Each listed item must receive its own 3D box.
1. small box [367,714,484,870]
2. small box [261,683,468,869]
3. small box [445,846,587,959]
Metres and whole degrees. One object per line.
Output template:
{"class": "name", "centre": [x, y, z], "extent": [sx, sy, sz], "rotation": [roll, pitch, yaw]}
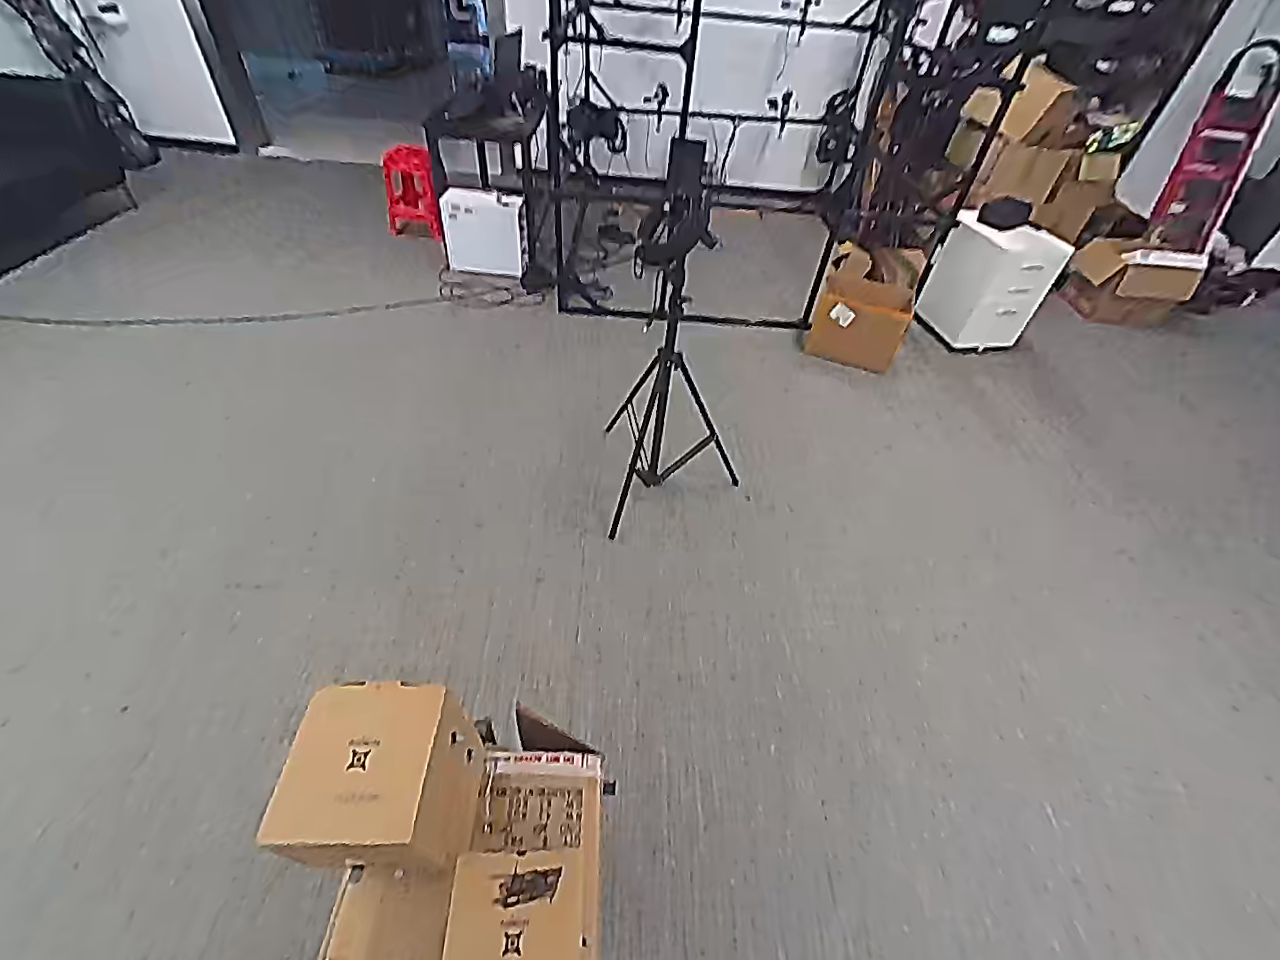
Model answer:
{"class": "small box", "centre": [-0.343, 0.474, 0.823], "extent": [0.168, 0.176, 0.179], "rotation": [1, 47, -3]}
{"class": "small box", "centre": [-0.327, 0.378, 0.691], "extent": [0.168, 0.176, 0.179], "rotation": [1, 48, -3]}
{"class": "small box", "centre": [-0.157, 0.606, 0.715], "extent": [0.168, 0.176, 0.179], "rotation": [1, 47, -5]}
